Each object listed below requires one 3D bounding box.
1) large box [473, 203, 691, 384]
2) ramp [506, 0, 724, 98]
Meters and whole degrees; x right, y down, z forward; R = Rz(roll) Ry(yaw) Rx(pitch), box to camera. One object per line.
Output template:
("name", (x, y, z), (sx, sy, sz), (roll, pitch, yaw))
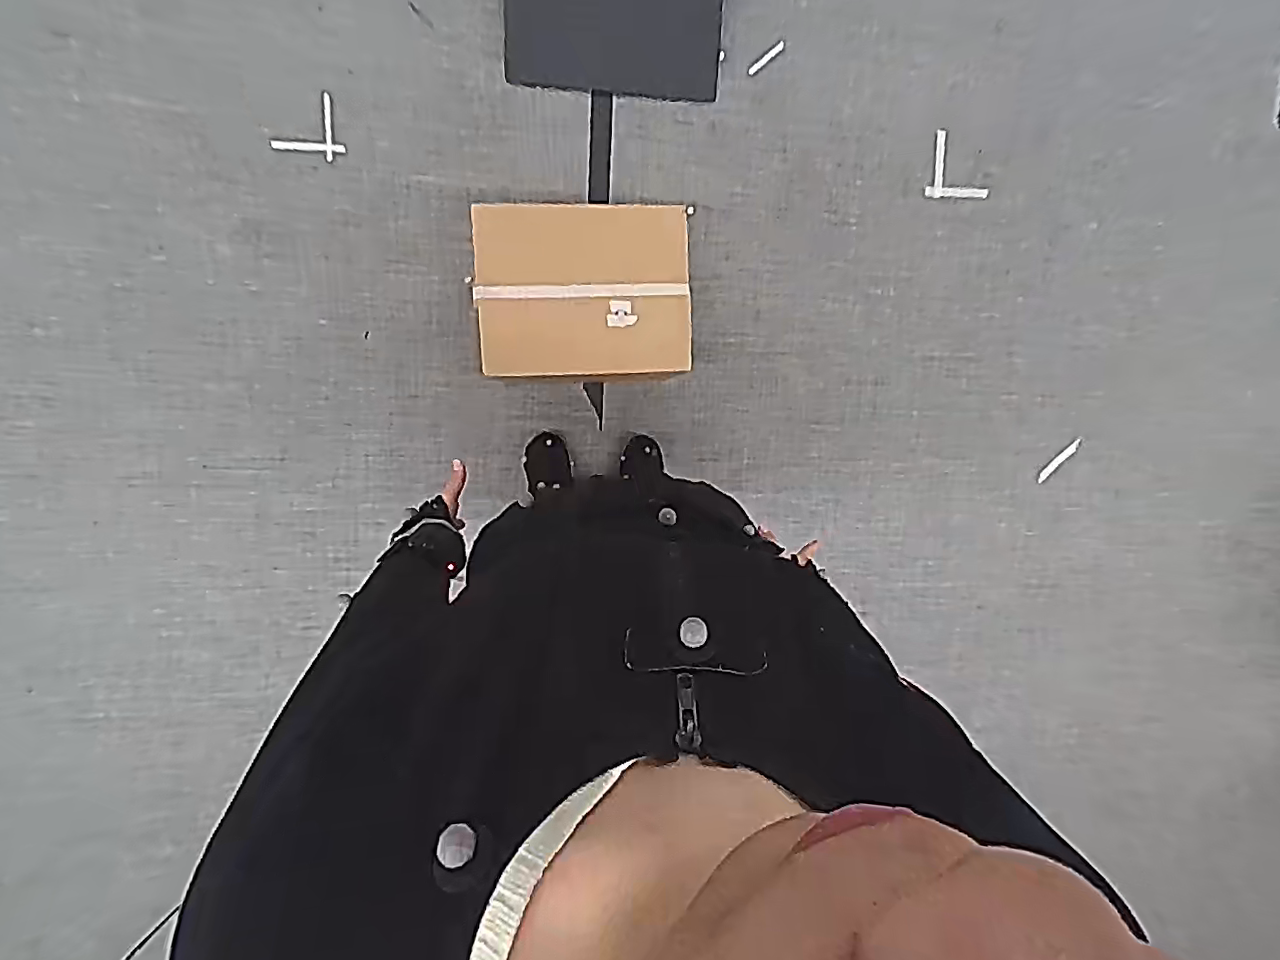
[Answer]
("large box", (-0.123, -0.380, 1.172), (0.408, 0.320, 0.320), (-3, 98, -7))
("ramp", (-0.033, -1.384, 1.105), (0.509, 0.206, 0.991), (-1, 98, -8))
